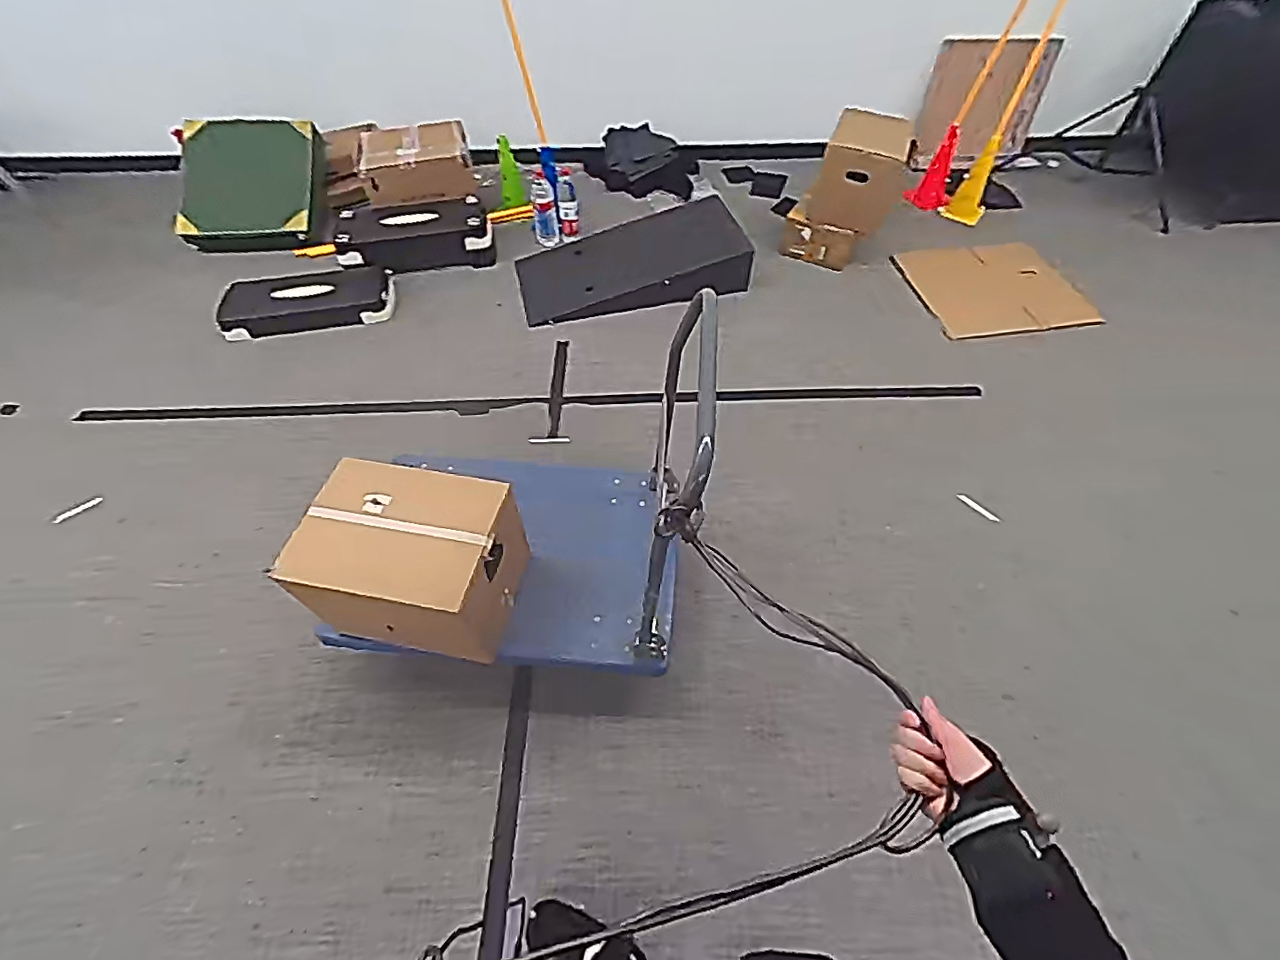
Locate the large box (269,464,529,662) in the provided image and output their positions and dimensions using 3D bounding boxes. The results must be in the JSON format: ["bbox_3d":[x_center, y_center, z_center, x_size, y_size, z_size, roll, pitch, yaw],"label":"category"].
[{"bbox_3d":[-0.509,0.197,1.248,0.408,0.320,0.320,8,53,7],"label":"large box"}]
